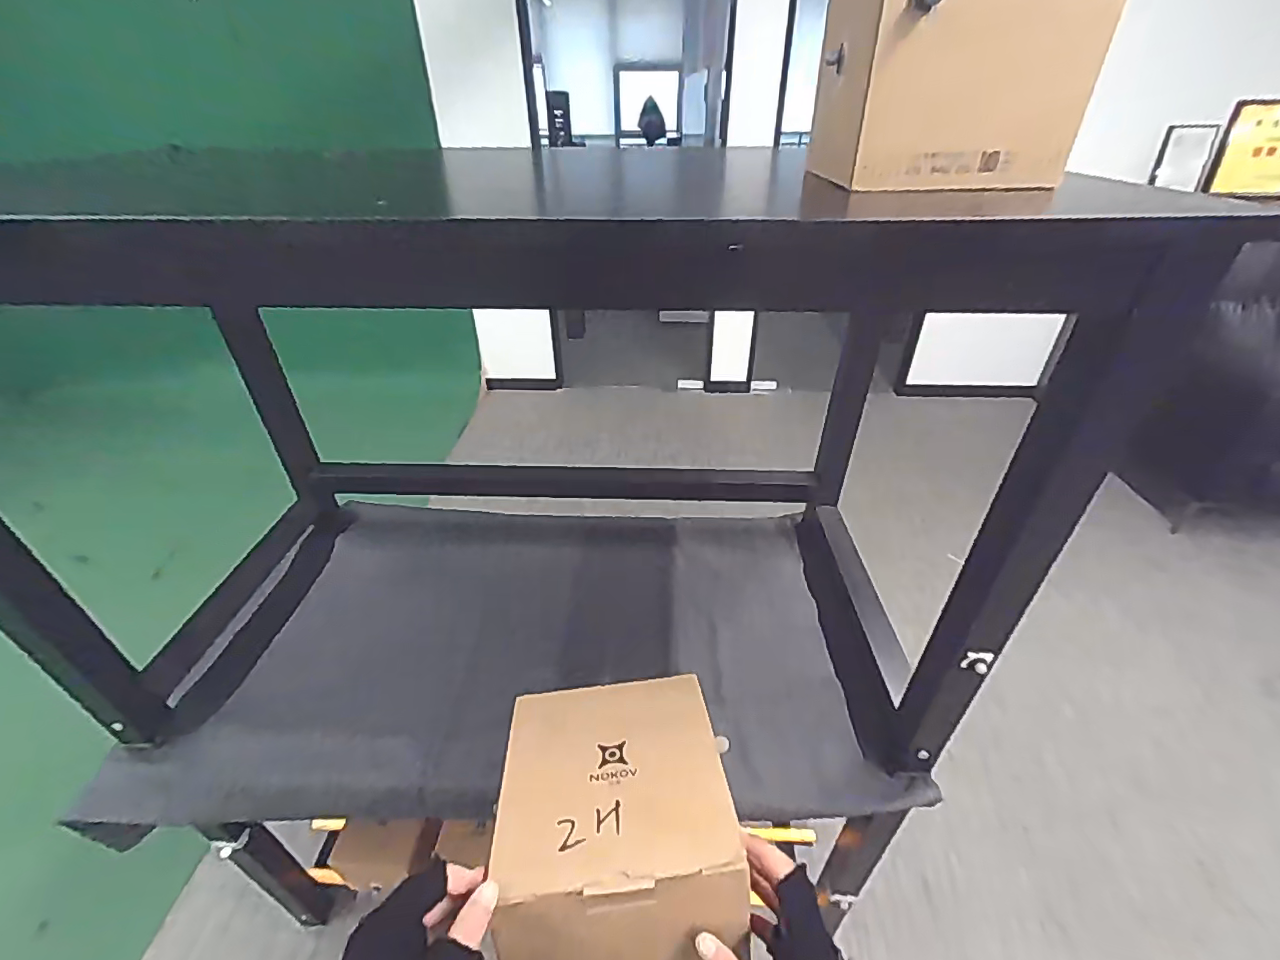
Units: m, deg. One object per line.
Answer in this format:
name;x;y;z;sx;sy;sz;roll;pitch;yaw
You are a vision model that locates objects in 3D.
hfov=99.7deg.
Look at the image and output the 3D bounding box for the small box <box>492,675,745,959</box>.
small box;-0.014;0.295;0.450;0.168;0.176;0.179;-6;20;-3
